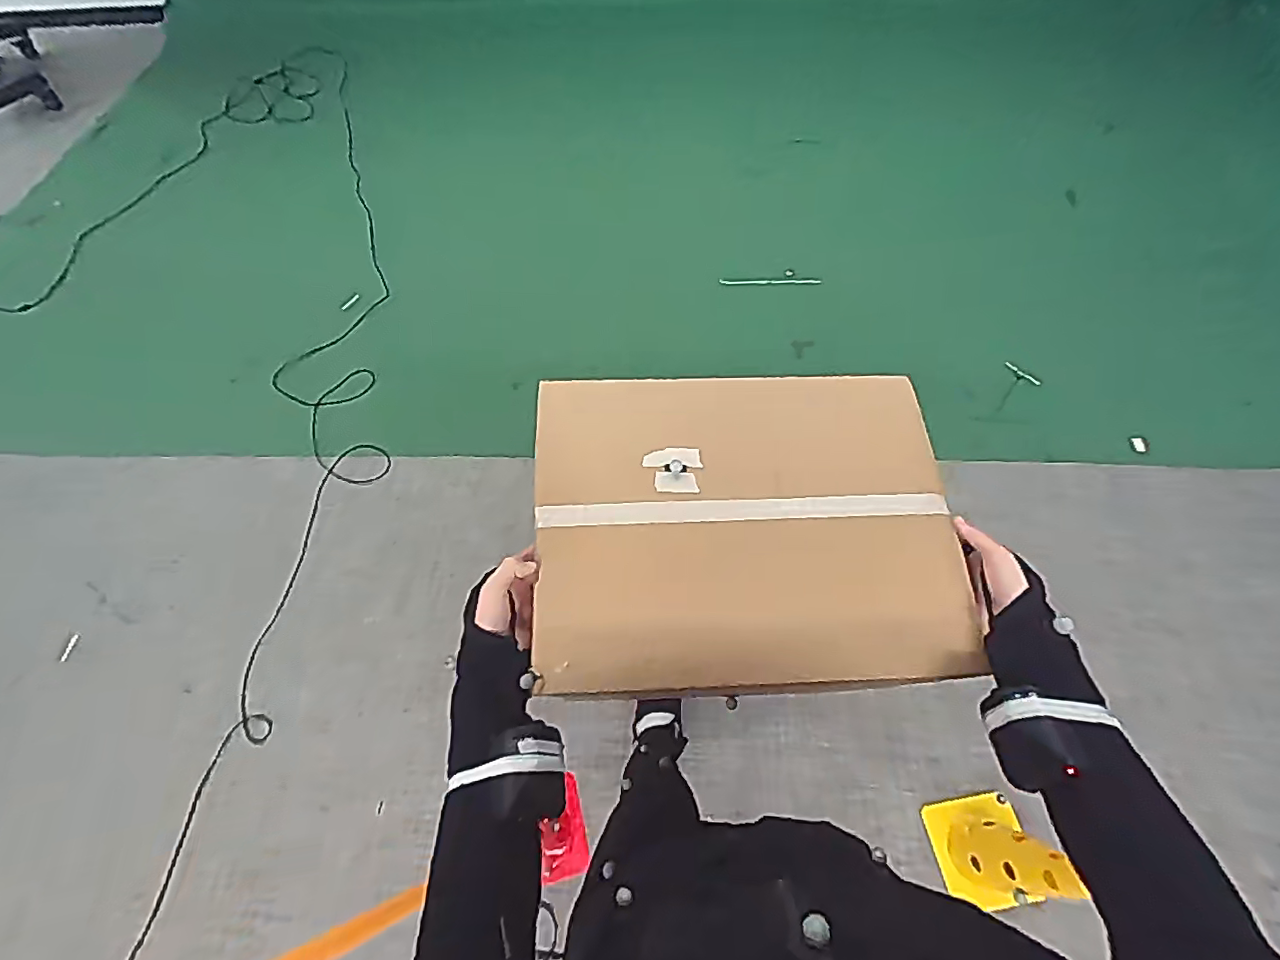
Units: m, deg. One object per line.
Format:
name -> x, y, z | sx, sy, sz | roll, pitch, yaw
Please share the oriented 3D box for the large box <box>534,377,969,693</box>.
large box -> 0.096, 0.091, 0.678 | 0.408, 0.320, 0.320 | -2, 66, -2
